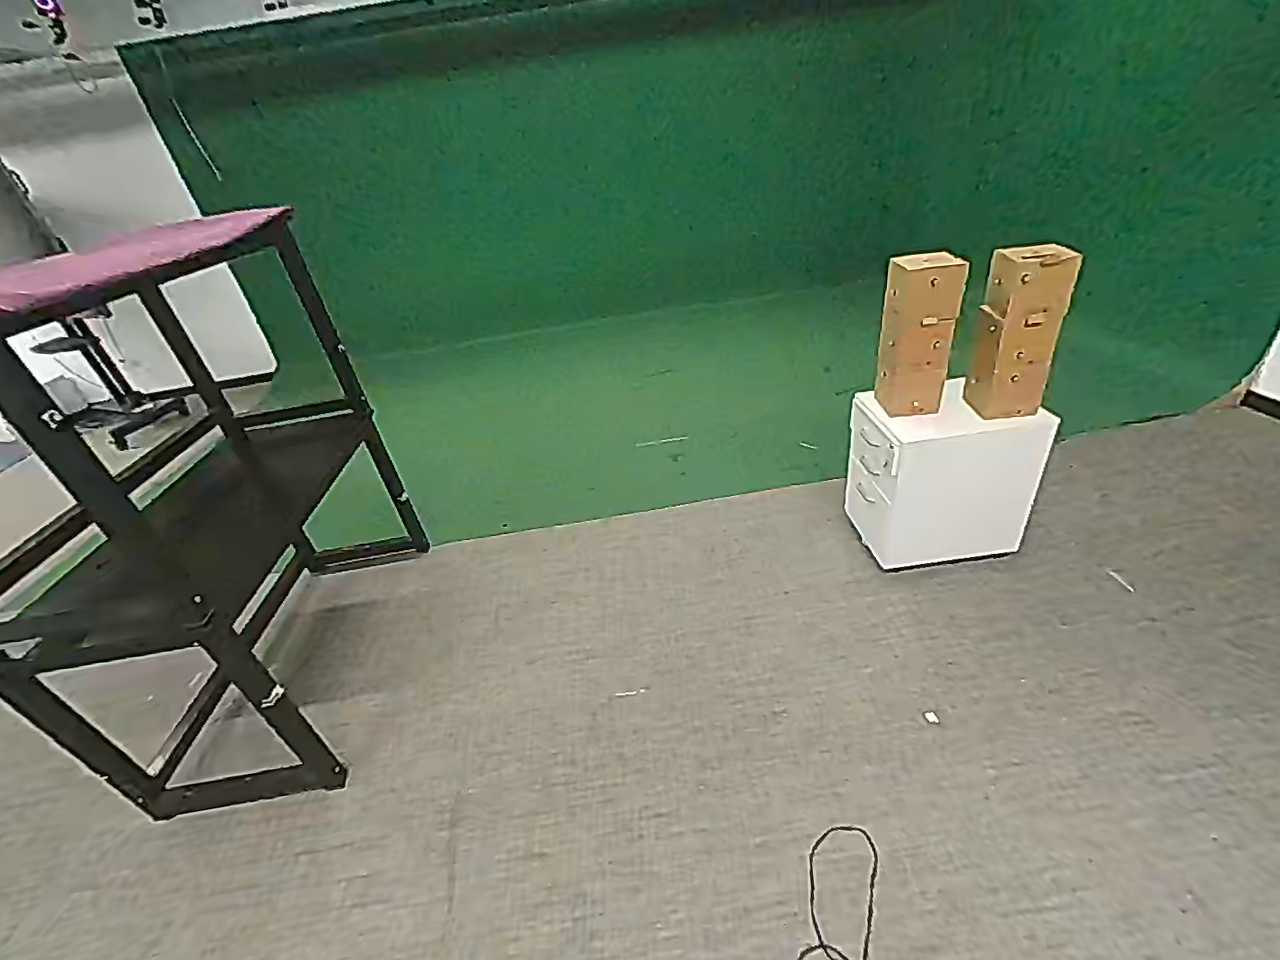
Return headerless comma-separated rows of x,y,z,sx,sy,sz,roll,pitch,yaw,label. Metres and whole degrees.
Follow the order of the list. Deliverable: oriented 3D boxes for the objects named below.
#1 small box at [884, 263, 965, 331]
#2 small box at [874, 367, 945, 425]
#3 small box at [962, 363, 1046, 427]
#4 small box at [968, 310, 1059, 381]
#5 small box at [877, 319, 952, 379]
0.900,-0.584,1.734,0.179,0.176,0.168,-4,33,4,small box
0.941,-0.309,1.906,0.168,0.176,0.179,-5,33,6,small box
1.208,-0.292,1.812,0.168,0.176,0.179,-5,32,7,small box
1.183,-0.431,1.731,0.168,0.176,0.179,-5,33,7,small box
0.917,-0.446,1.822,0.168,0.176,0.179,-4,32,5,small box
